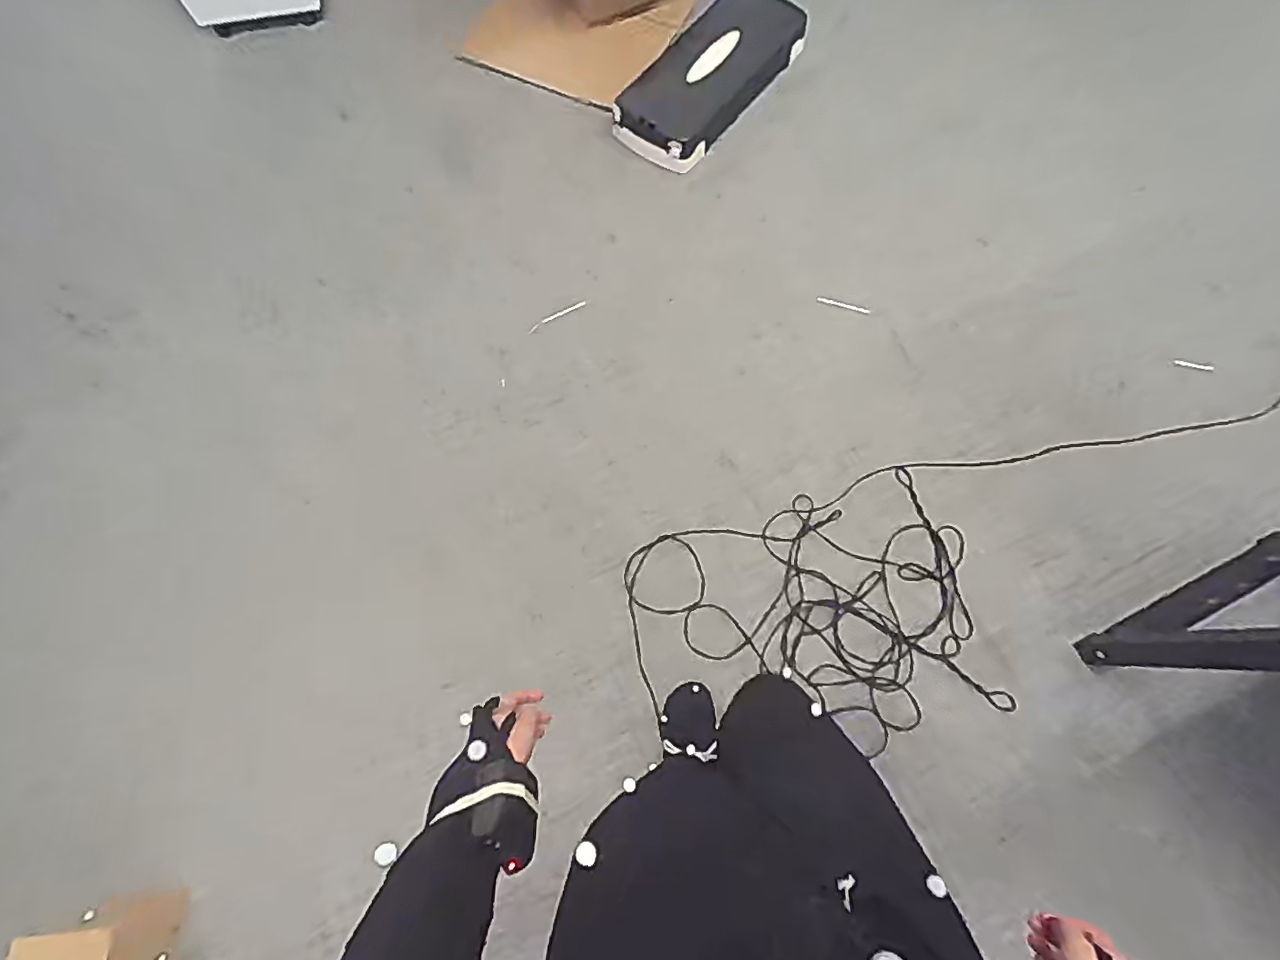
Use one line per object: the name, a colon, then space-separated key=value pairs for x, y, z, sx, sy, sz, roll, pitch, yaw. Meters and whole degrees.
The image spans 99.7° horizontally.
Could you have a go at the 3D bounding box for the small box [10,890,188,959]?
small box: x=-0.993 y=0.886 z=0.991 sx=0.179 sy=0.176 sz=0.168 roll=-6 pitch=72 yaw=-1
